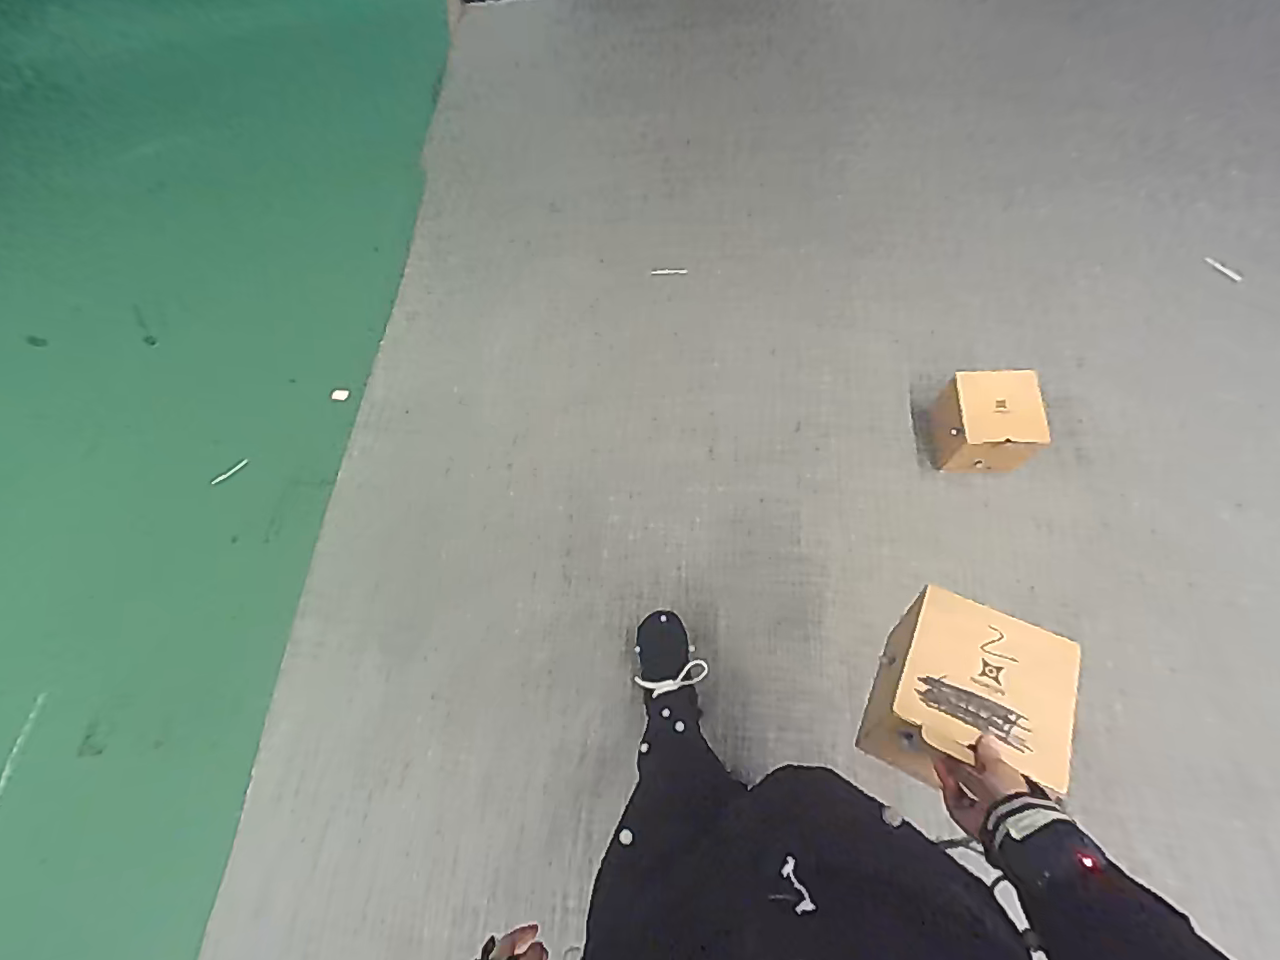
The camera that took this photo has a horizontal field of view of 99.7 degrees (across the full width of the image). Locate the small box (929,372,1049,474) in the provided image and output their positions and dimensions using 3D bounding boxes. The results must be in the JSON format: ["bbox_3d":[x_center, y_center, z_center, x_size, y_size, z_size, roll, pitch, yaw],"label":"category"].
[{"bbox_3d":[0.782,-0.127,1.233,0.168,0.176,0.179,0,70,7],"label":"small box"}]
